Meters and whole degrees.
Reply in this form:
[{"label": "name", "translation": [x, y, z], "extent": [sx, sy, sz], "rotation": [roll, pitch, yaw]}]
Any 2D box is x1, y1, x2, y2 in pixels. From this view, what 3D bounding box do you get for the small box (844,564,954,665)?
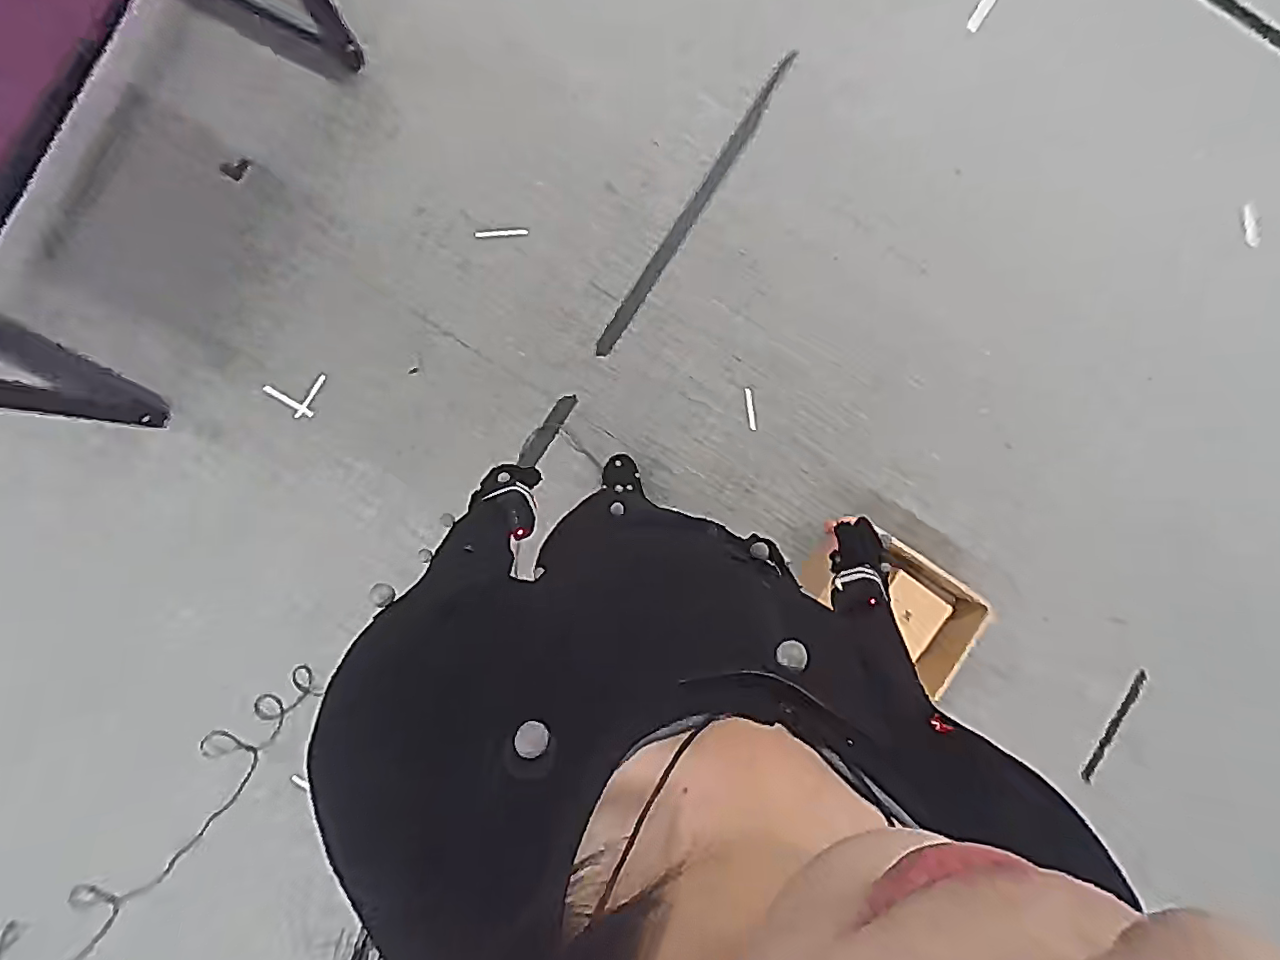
[{"label": "small box", "translation": [0.665, 0.344, 1.418], "extent": [0.168, 0.176, 0.179], "rotation": [37, 88, -1]}]
